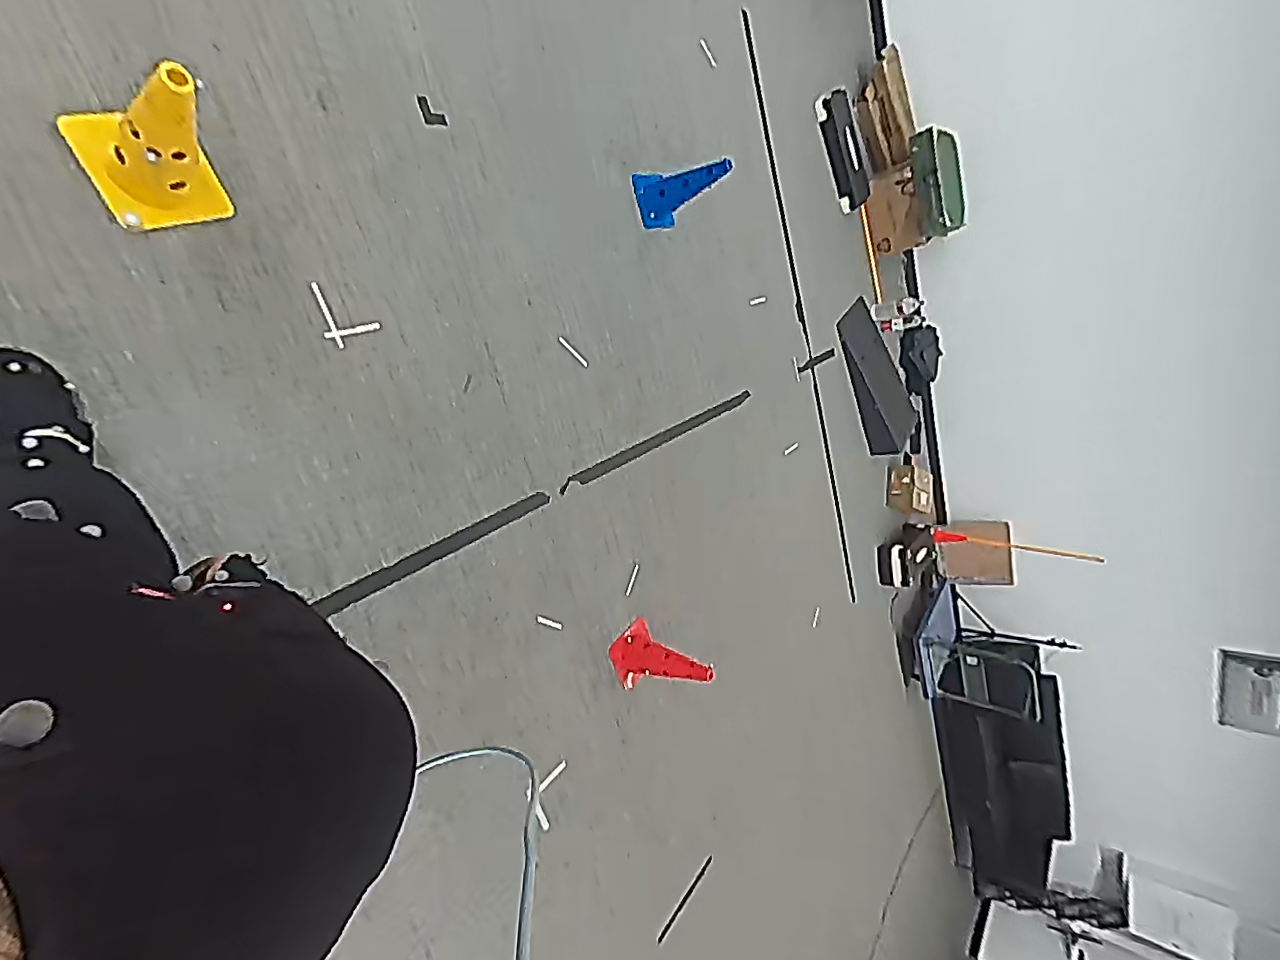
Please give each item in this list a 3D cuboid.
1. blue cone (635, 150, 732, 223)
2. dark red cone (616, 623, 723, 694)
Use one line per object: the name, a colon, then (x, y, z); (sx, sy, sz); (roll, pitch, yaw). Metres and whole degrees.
blue cone: (0.178, -1.102, 1.987); (0.193, 0.380, 0.192); (-29, 110, -43)
dark red cone: (0.119, 0.654, 1.879); (0.202, 0.394, 0.201); (-39, 116, -40)
